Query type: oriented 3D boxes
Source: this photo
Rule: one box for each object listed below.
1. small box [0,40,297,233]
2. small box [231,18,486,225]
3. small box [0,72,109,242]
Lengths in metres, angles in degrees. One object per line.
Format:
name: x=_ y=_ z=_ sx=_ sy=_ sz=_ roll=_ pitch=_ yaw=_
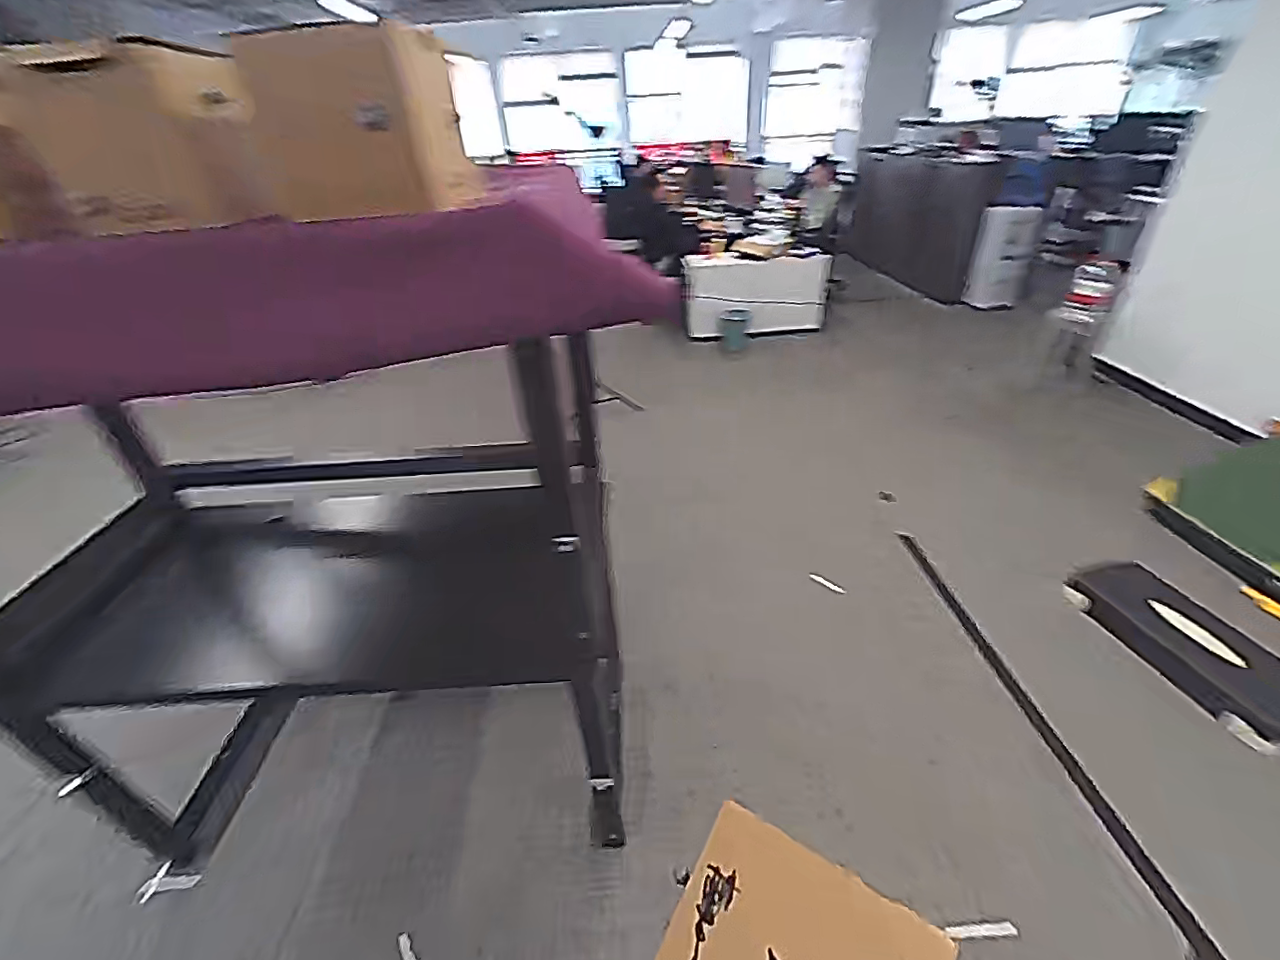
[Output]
small box: x=-0.541 y=-0.391 z=0.635 sx=0.168 sy=0.176 sz=0.179 roll=-3 pitch=32 yaw=1
small box: x=-0.292 y=-0.395 z=0.612 sx=0.179 sy=0.176 sz=0.168 roll=-1 pitch=32 yaw=5
small box: x=-0.799 y=-0.384 z=0.650 sx=0.179 sy=0.176 sz=0.168 roll=-1 pitch=33 yaw=4
